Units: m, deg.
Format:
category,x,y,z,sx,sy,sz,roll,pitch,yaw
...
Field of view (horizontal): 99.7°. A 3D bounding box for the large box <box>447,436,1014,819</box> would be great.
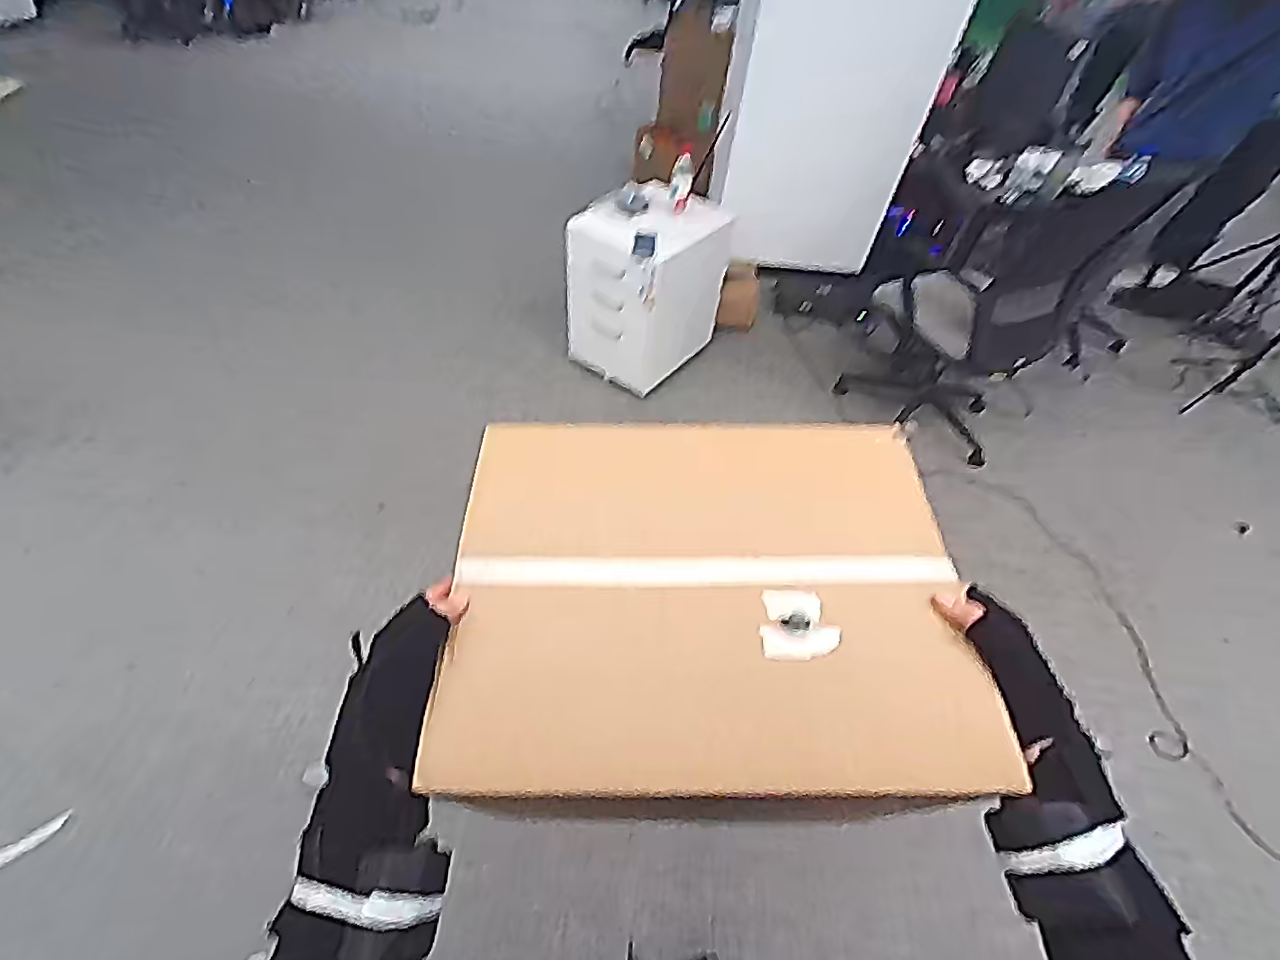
category,x,y,z,sx,sy,sz,roll,pitch,yaw
large box,0.059,0.167,0.577,0.408,0.320,0.320,0,55,0
